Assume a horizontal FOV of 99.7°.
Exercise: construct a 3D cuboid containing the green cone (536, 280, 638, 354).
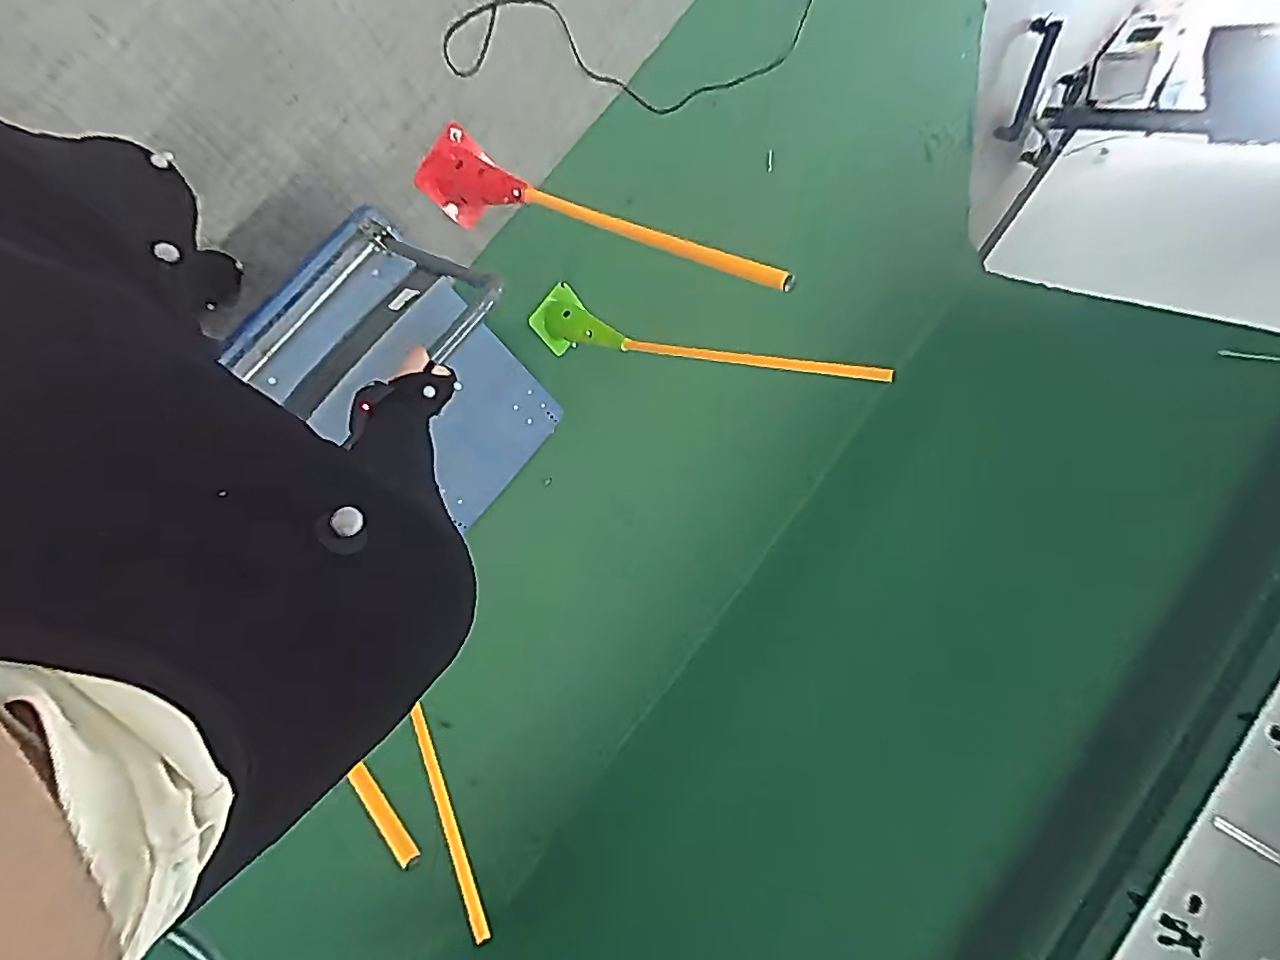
[{"bbox_3d":[-0.145,-0.500,1.816,0.200,0.368,0.202,-53,144,-6],"label":"green cone"}]
